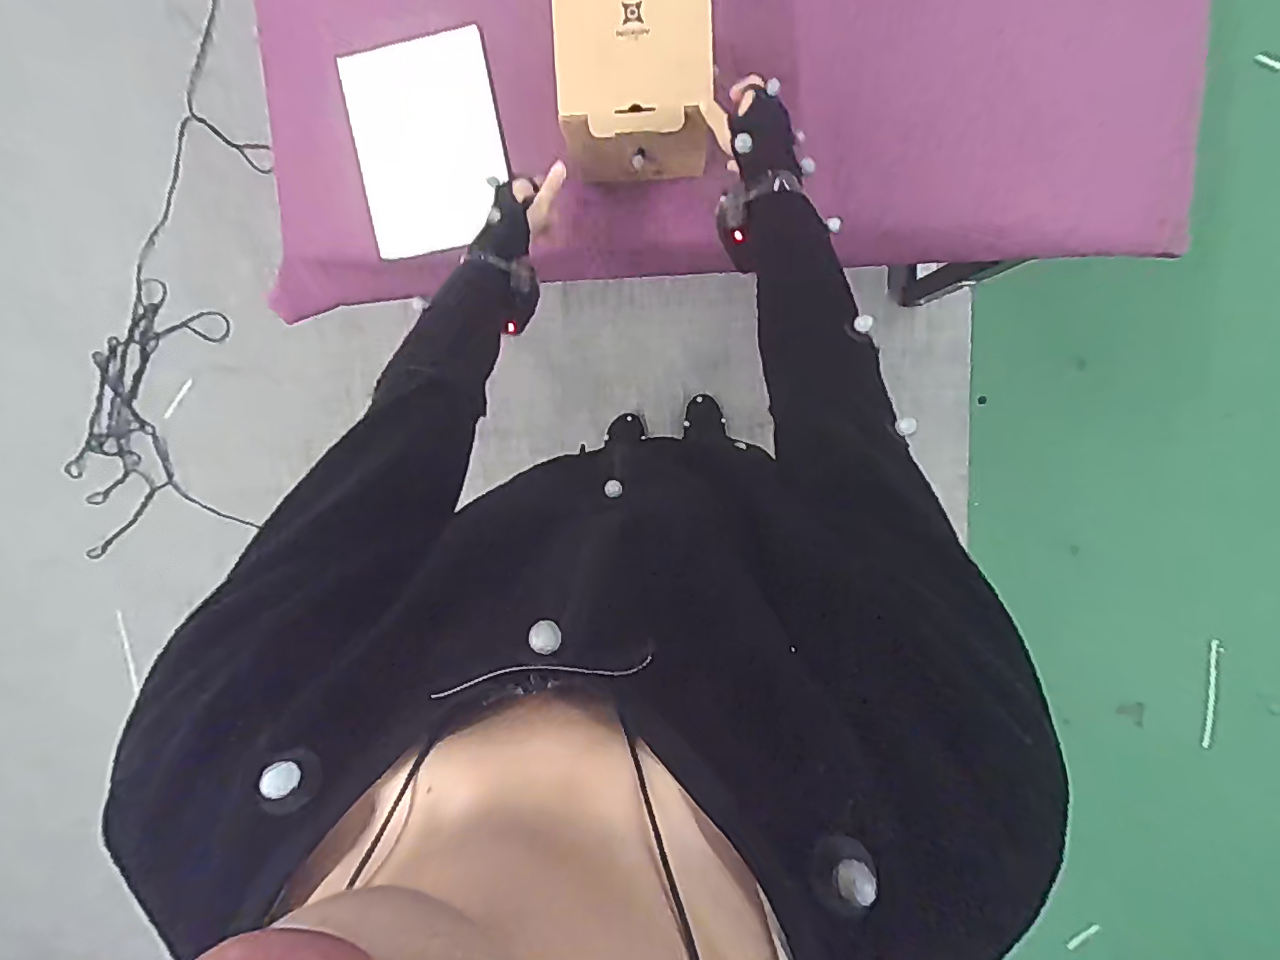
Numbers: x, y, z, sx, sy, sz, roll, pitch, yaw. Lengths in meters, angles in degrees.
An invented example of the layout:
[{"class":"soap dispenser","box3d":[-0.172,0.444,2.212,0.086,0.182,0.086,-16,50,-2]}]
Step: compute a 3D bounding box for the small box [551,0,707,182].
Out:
[{"class":"small box","box3d":[-0.006,-0.475,0.644,0.168,0.176,0.179,-2,97,3]}]
